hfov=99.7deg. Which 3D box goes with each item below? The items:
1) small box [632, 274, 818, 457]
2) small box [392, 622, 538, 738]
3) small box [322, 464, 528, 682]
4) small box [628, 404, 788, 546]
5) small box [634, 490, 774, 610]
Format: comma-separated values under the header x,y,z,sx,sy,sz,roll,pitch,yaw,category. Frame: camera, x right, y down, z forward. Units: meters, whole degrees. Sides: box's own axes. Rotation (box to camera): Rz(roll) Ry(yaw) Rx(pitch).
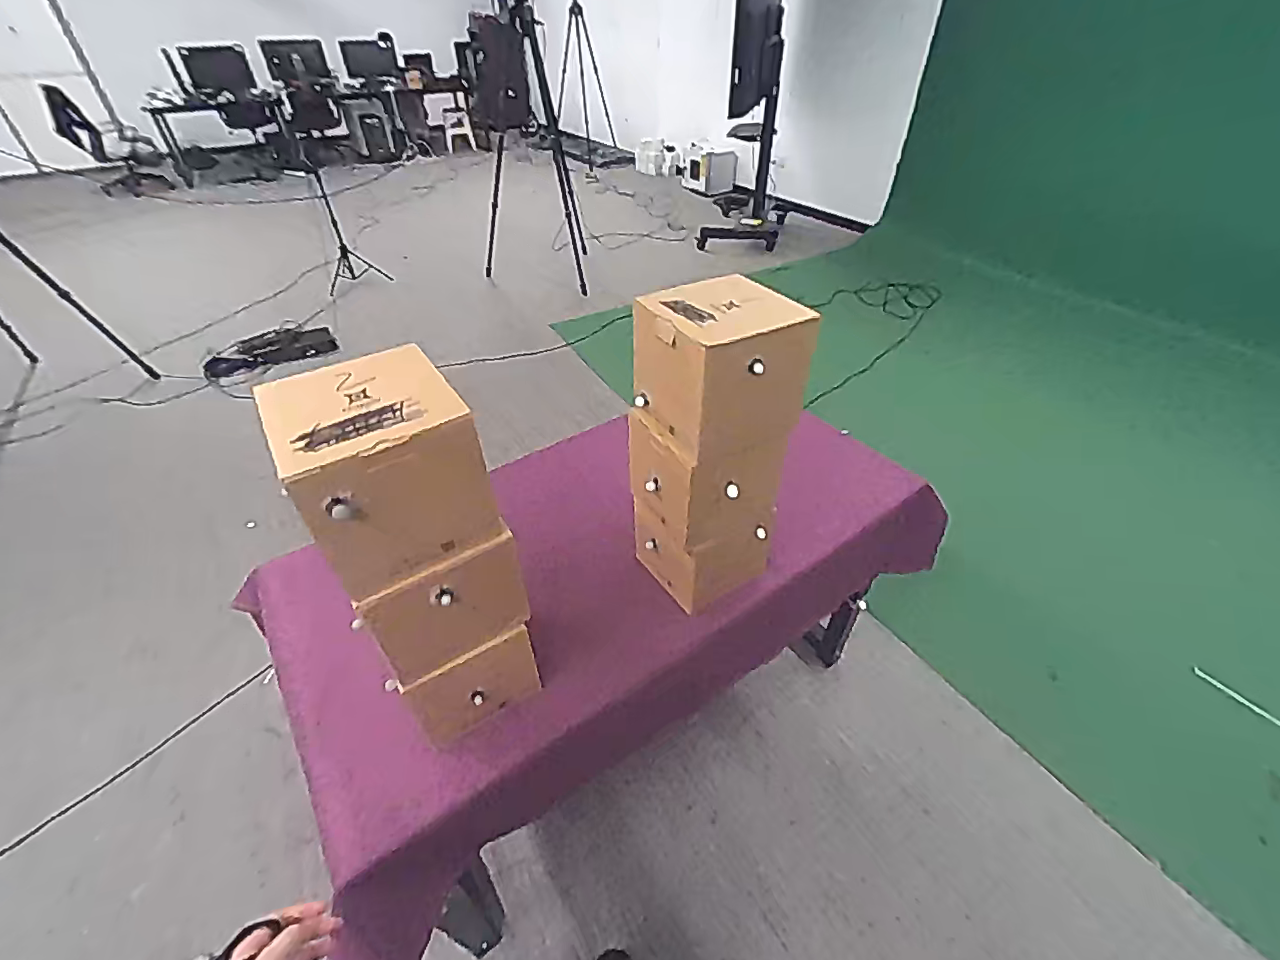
x,y,z,sx,sy,sz,roll,pitch,yaw,category
0.105,-0.154,0.725,0.179,0.176,0.168,-21,45,-23,small box
-0.261,0.239,0.780,0.168,0.176,0.179,-23,45,-24,small box
-0.259,0.115,0.676,0.179,0.176,0.168,-25,47,-25,small box
0.099,-0.027,0.830,0.179,0.176,0.168,-22,46,-22,small box
0.107,0.093,0.941,0.179,0.176,0.168,-25,46,-25,small box
